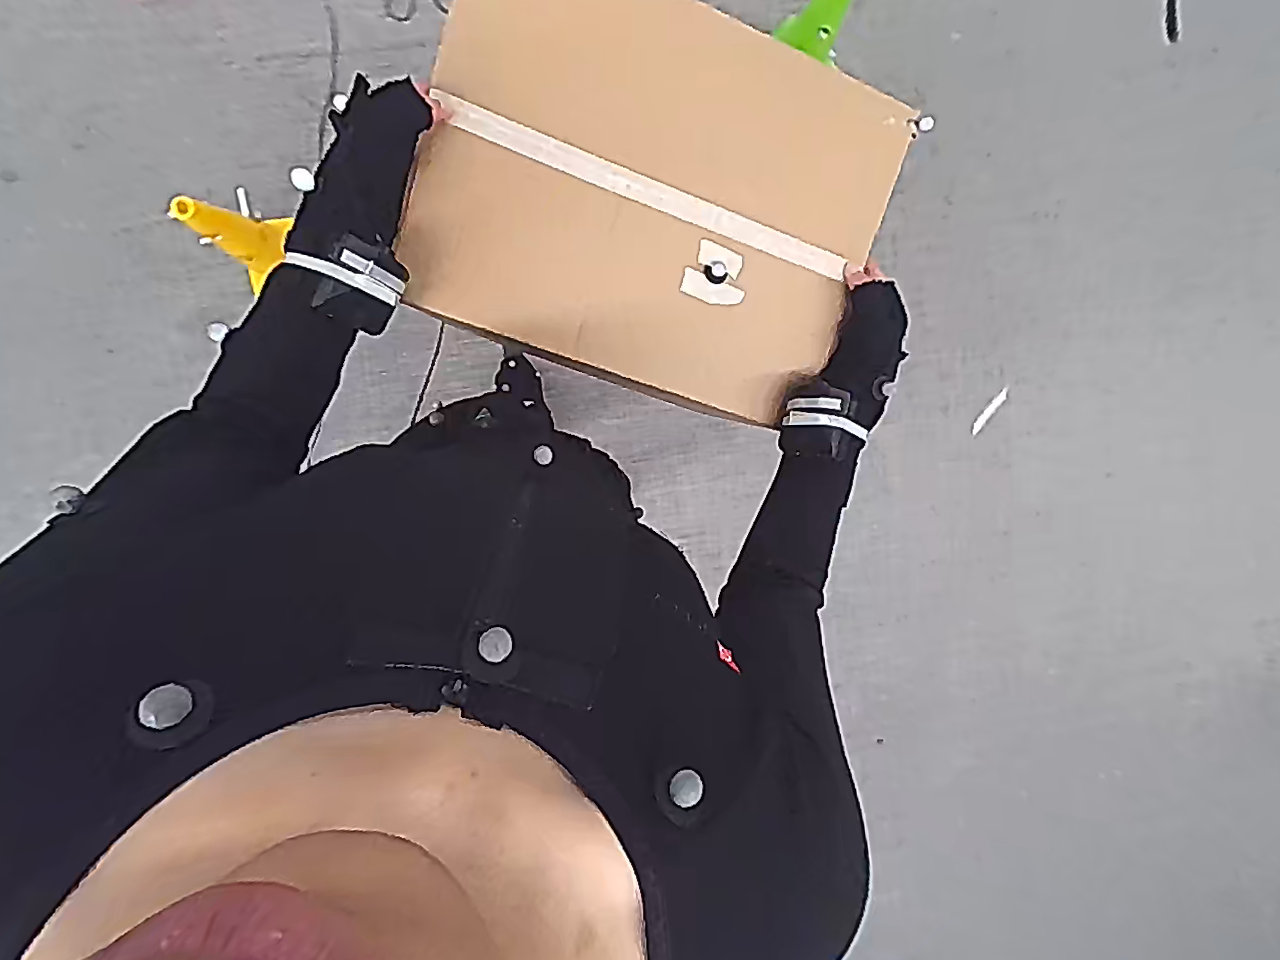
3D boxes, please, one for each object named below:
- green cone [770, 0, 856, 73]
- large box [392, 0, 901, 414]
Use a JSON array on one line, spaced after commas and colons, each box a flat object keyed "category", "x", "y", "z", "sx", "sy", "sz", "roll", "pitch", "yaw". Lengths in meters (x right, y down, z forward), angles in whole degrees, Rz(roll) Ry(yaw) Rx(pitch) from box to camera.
[{"category": "green cone", "x": 0.414, "y": -1.023, "z": 1.204, "sx": 0.202, "sy": 0.368, "sz": 0.200, "roll": -45, "pitch": 99, "yaw": 1}, {"category": "large box", "x": -0.010, "y": -0.283, "z": 0.624, "sx": 0.408, "sy": 0.320, "sz": 0.320, "roll": 16, "pitch": 98, "yaw": -12}]
